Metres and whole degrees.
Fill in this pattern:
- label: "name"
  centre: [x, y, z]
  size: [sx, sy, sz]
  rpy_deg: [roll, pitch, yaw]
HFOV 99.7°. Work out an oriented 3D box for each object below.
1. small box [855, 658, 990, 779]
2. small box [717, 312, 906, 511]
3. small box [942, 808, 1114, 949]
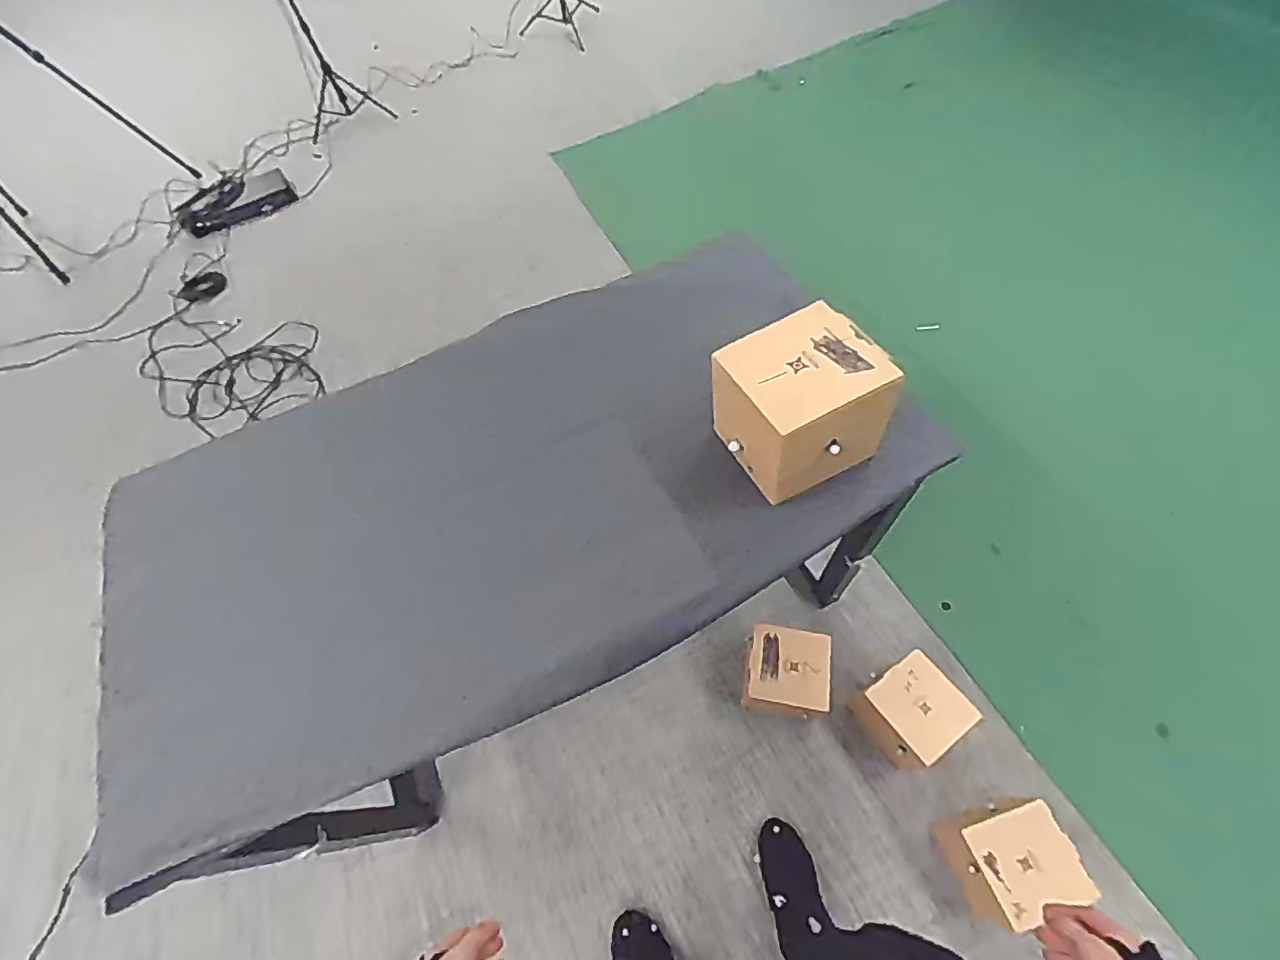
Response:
- label: "small box"
  centre: [0.609, 0.526, 1.190]
  size: [0.168, 0.176, 0.179]
  rpy_deg: [-33, 62, -12]
- label: "small box"
  centre: [0.220, -0.089, 0.742]
  size: [0.179, 0.176, 0.168]
  rpy_deg: [-26, 56, -7]
- label: "small box"
  centre: [0.730, 0.753, 1.043]
  size: [0.179, 0.176, 0.168]
  rpy_deg: [-19, 61, -3]
